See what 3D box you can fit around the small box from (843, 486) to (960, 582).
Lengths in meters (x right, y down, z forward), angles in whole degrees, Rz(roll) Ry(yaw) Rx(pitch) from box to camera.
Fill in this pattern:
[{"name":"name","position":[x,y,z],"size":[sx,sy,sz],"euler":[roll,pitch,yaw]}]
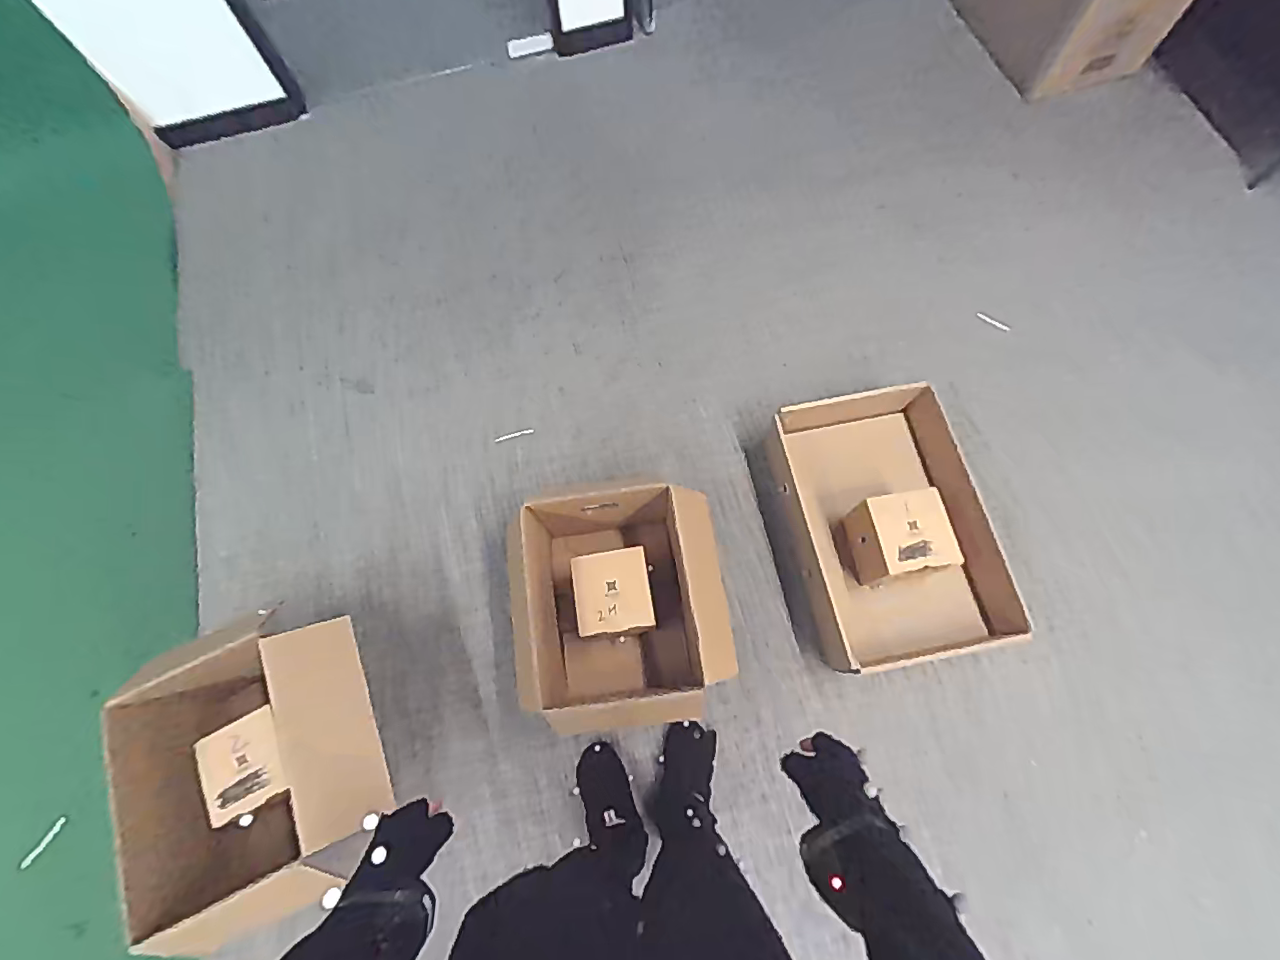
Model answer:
[{"name":"small box","position":[0.591,0.132,1.246],"size":[0.168,0.176,0.179],"euler":[-9,69,-2]}]
